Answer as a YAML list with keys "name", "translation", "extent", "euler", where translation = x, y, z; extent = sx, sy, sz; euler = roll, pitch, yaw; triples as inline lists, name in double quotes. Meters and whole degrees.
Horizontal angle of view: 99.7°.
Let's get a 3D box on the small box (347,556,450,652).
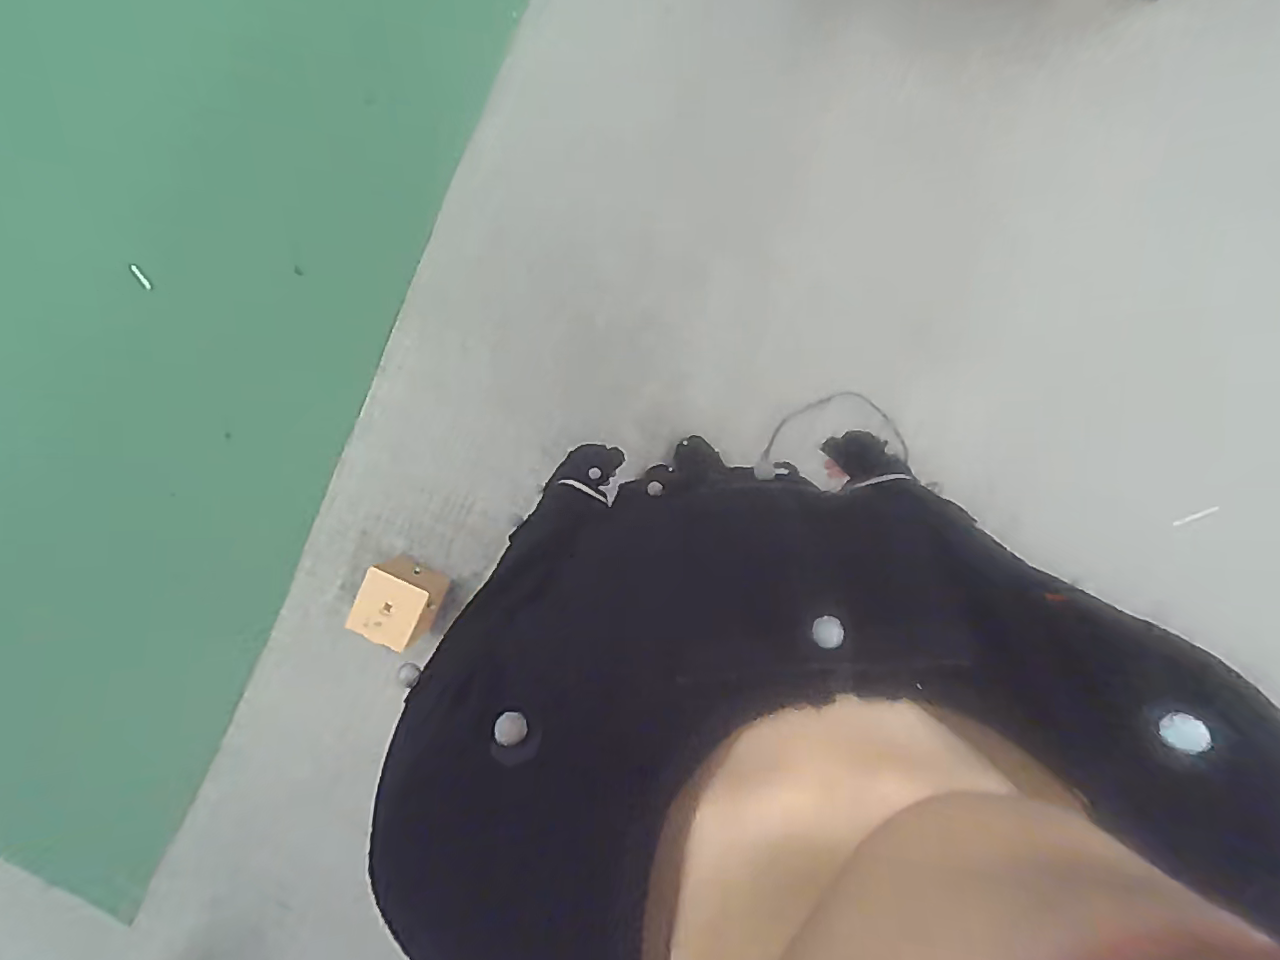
- name: "small box"
  translation: [-0.627, 0.318, 1.430]
  extent: [0.168, 0.176, 0.179]
  euler: [25, 93, 1]
